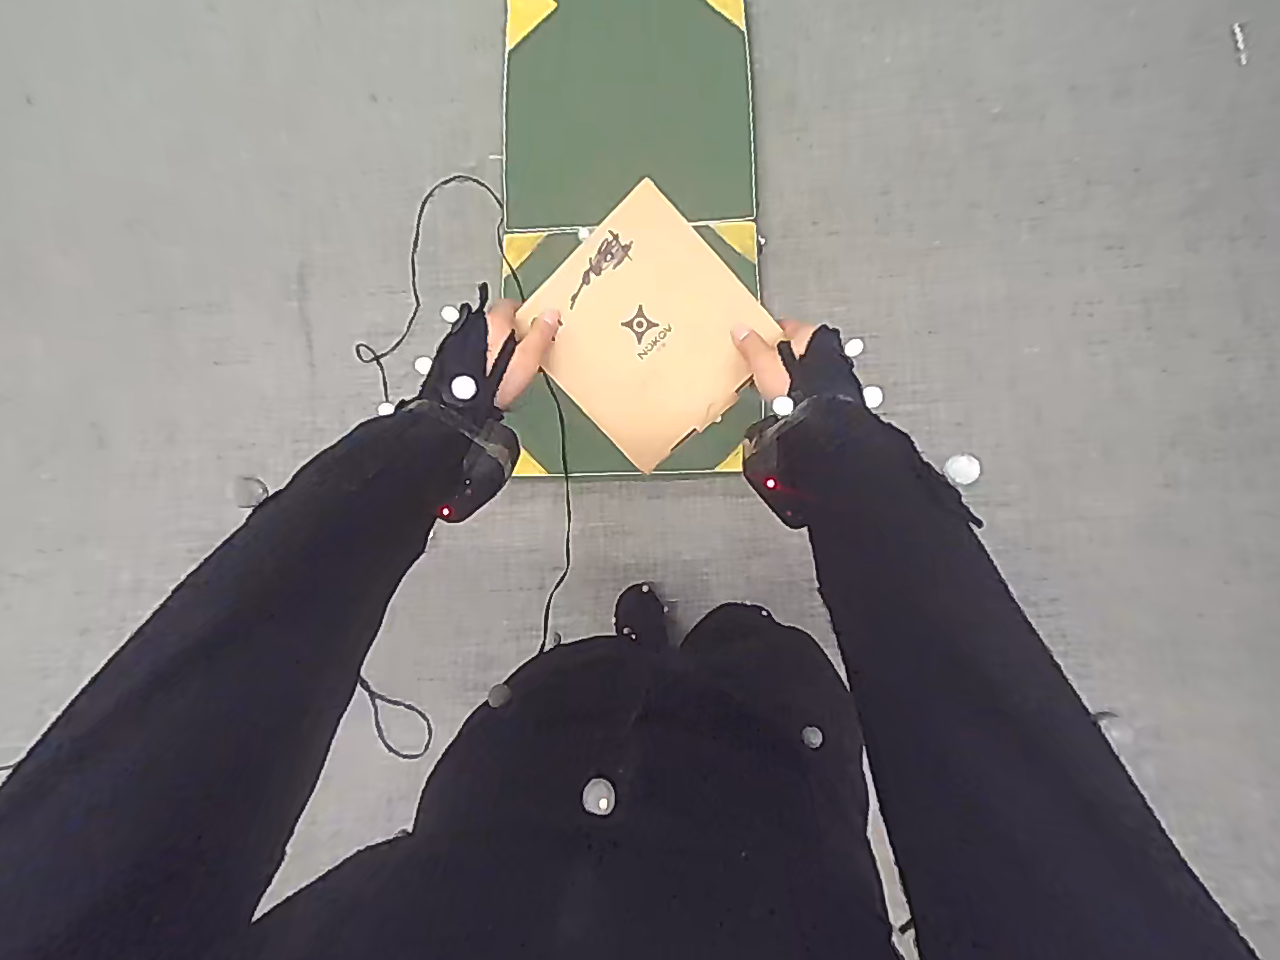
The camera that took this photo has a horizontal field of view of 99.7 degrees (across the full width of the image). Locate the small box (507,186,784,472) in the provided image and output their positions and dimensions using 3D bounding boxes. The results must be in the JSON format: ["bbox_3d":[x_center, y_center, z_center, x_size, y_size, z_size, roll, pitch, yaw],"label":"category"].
[{"bbox_3d":[0.008,-0.136,0.527,0.168,0.176,0.179,-42,96,9],"label":"small box"}]
